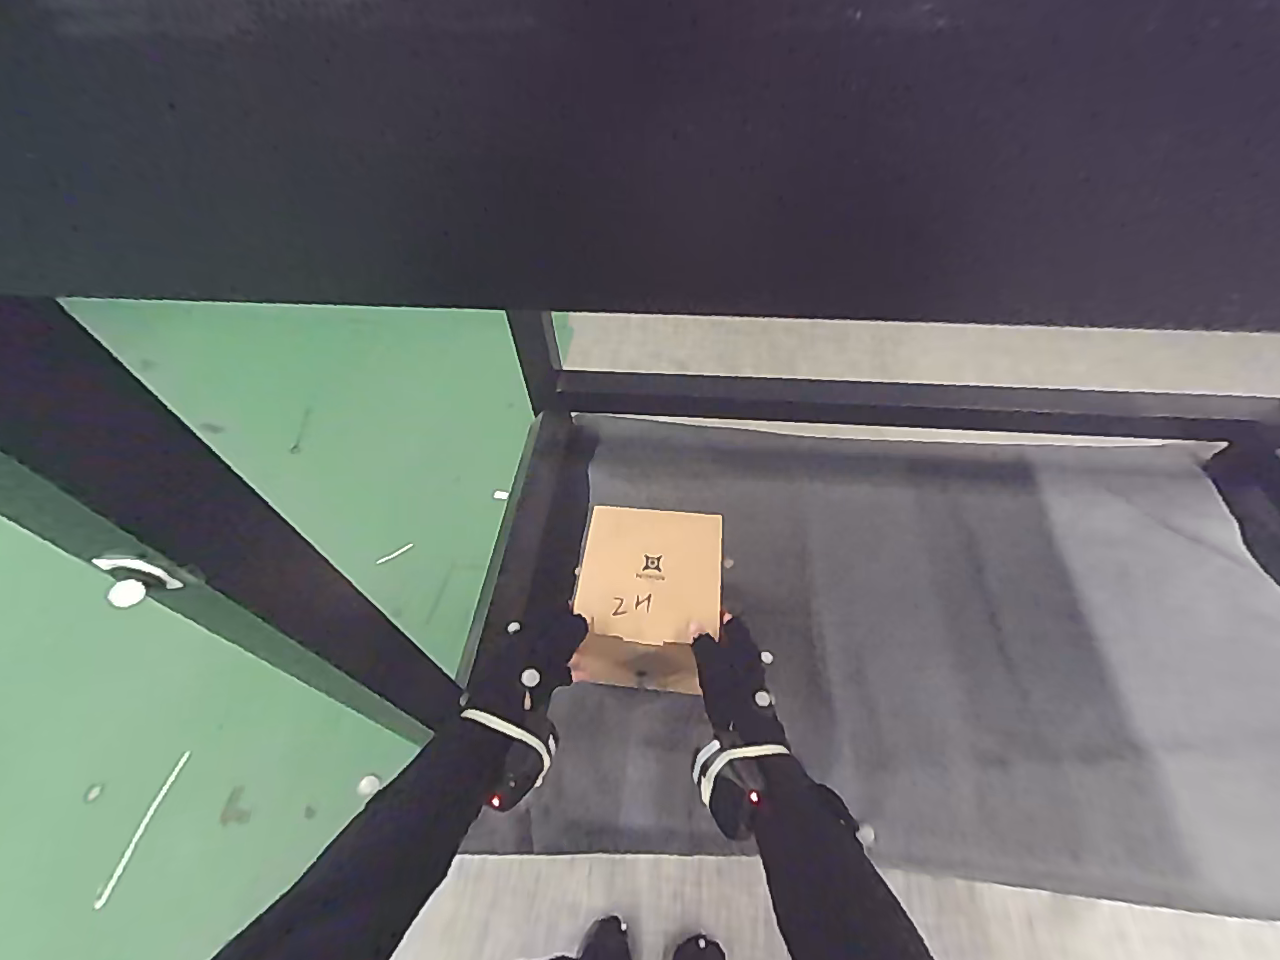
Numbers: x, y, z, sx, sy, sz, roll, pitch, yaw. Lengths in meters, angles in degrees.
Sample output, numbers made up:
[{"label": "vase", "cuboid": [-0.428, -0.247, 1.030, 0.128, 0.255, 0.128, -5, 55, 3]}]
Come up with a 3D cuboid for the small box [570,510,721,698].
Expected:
[{"label": "small box", "cuboid": [0.013, 0.162, 0.703, 0.168, 0.176, 0.179, 4, 52, 6]}]
